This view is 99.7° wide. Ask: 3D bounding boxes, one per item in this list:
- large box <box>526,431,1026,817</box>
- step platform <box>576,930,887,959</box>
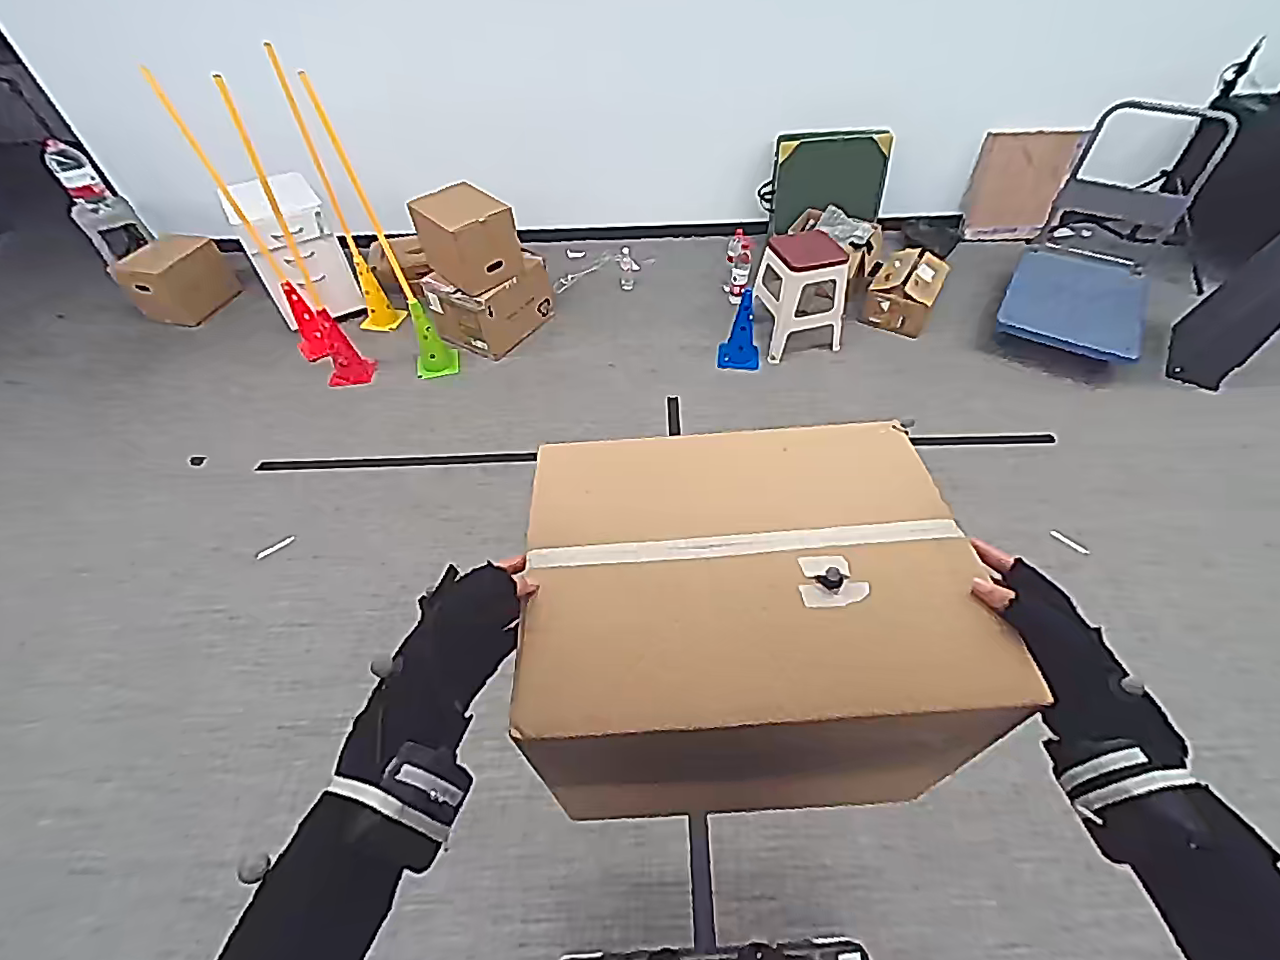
[{"bbox_3d":[0.103,0.169,0.628,0.408,0.320,0.320,-4,48,0],"label":"large box"},{"bbox_3d":[0.189,1.122,1.100,0.684,0.204,0.286,-3,49,-2],"label":"step platform"}]
